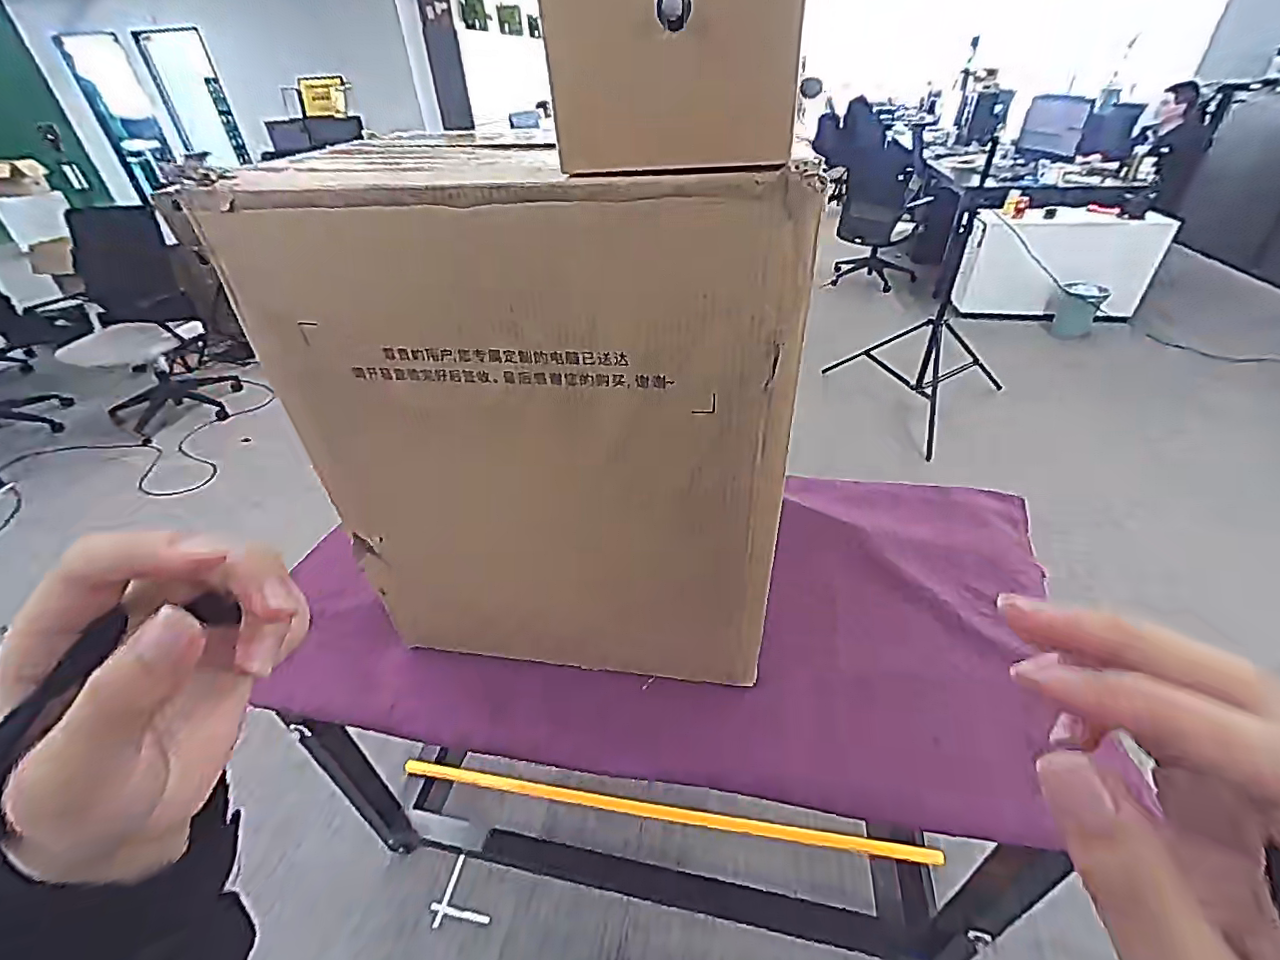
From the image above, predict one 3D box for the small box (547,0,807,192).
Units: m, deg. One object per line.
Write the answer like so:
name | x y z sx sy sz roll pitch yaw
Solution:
small box | 0.036 -0.326 0.403 0.168 0.176 0.179 5 38 12
